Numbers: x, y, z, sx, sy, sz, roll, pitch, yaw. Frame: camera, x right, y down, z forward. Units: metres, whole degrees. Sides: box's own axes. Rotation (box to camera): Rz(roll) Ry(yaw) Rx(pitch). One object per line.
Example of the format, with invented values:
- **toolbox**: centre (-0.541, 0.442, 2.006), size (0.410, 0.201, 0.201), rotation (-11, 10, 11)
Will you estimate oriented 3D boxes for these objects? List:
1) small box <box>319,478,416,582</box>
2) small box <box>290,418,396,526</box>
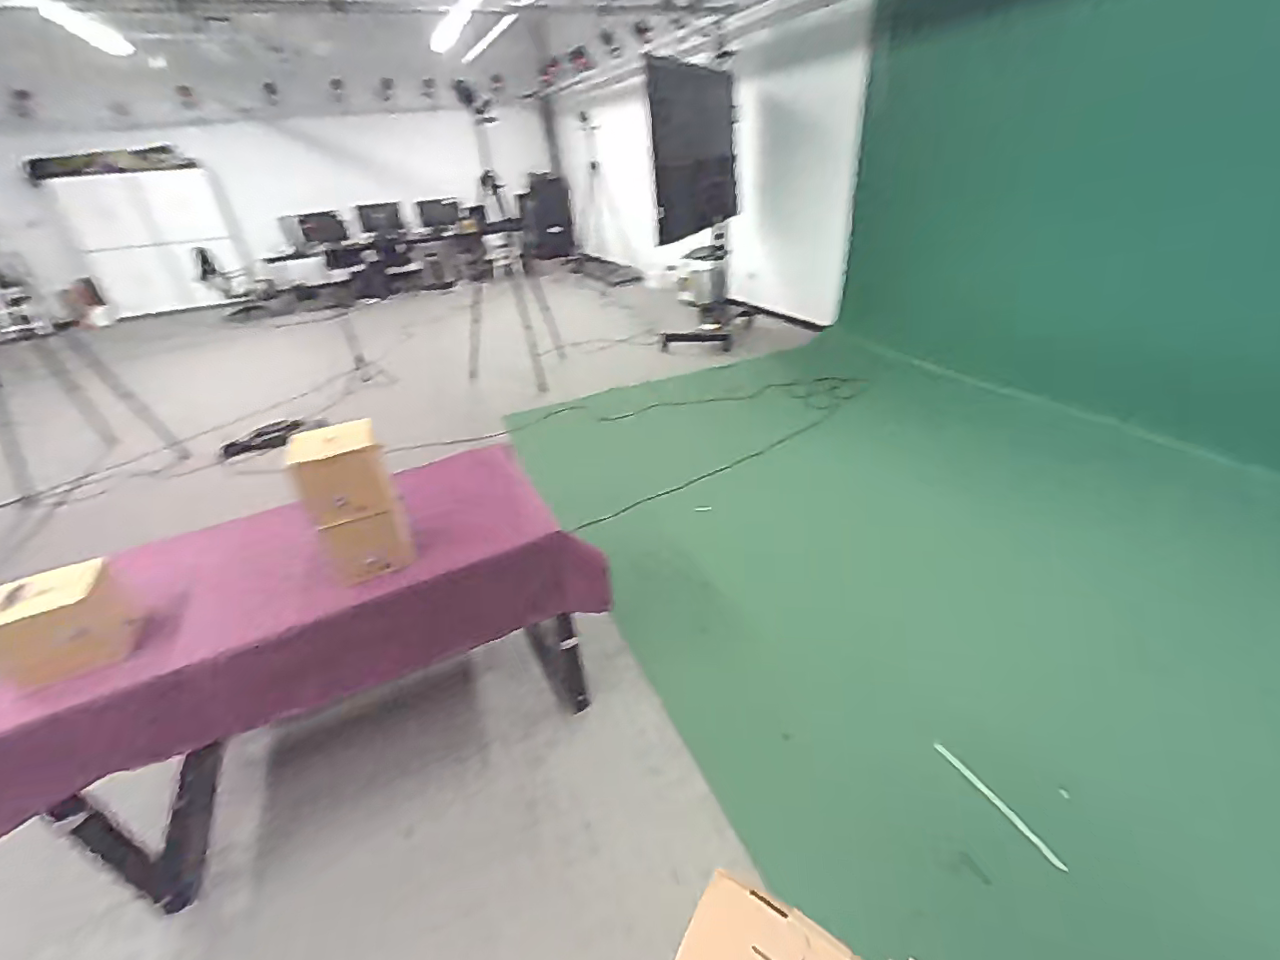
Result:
- **small box**: centre (-0.662, 0.119, 1.325), size (0.168, 0.176, 0.179), rotation (-18, 33, -18)
- **small box**: centre (-0.673, -0.021, 1.242), size (0.168, 0.176, 0.179), rotation (-17, 34, -19)
